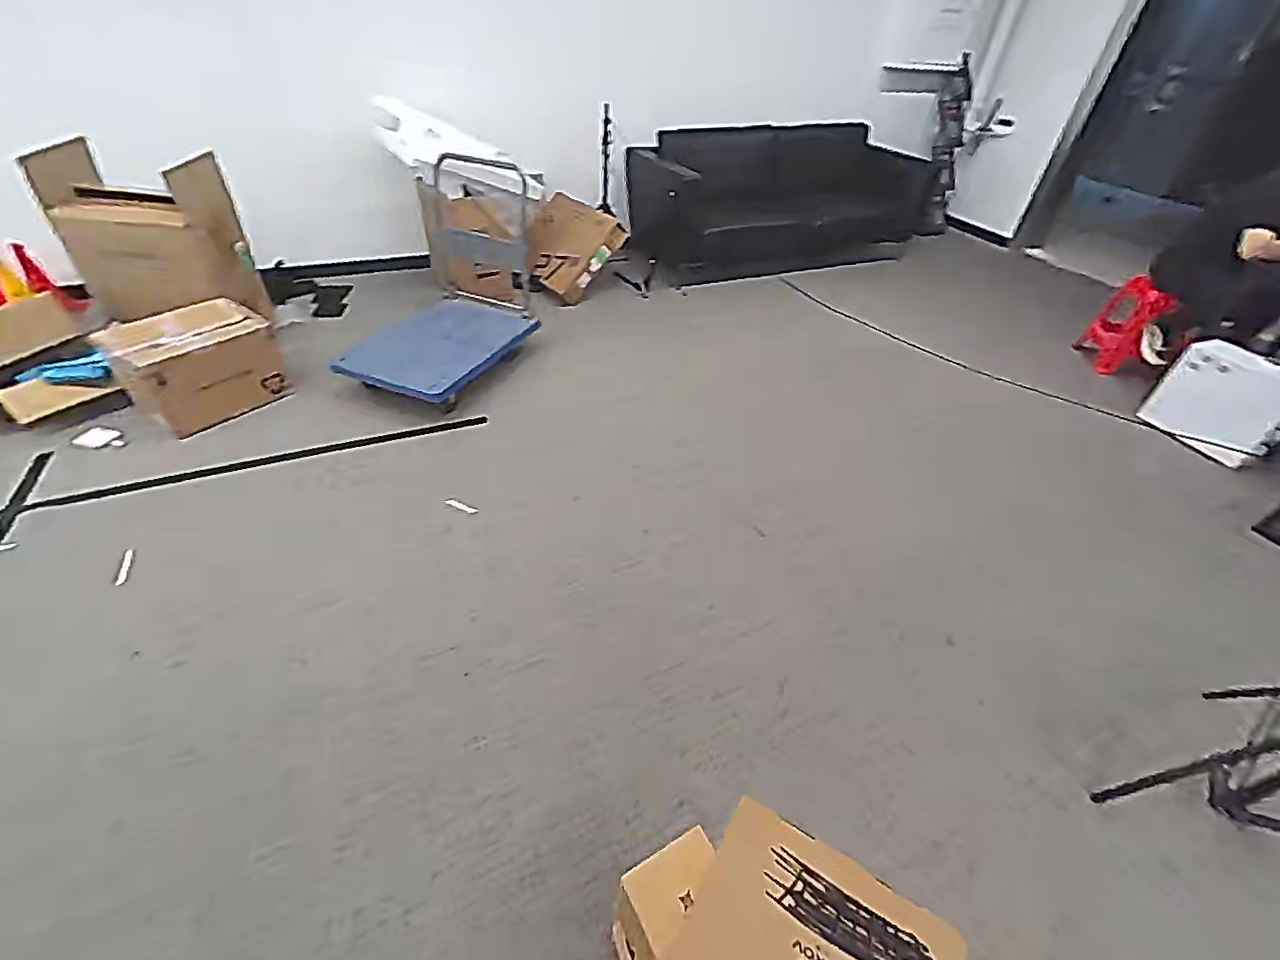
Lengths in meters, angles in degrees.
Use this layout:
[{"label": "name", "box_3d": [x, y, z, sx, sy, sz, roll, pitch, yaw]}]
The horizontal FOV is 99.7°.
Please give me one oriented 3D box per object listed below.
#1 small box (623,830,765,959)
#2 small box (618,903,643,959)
[{"label": "small box", "box_3d": [0.081, 0.756, 0.926, 0.168, 0.176, 0.179, -18, 46, -25]}, {"label": "small box", "box_3d": [0.064, 0.884, 1.025, 0.179, 0.176, 0.168, -12, 43, -20]}]
